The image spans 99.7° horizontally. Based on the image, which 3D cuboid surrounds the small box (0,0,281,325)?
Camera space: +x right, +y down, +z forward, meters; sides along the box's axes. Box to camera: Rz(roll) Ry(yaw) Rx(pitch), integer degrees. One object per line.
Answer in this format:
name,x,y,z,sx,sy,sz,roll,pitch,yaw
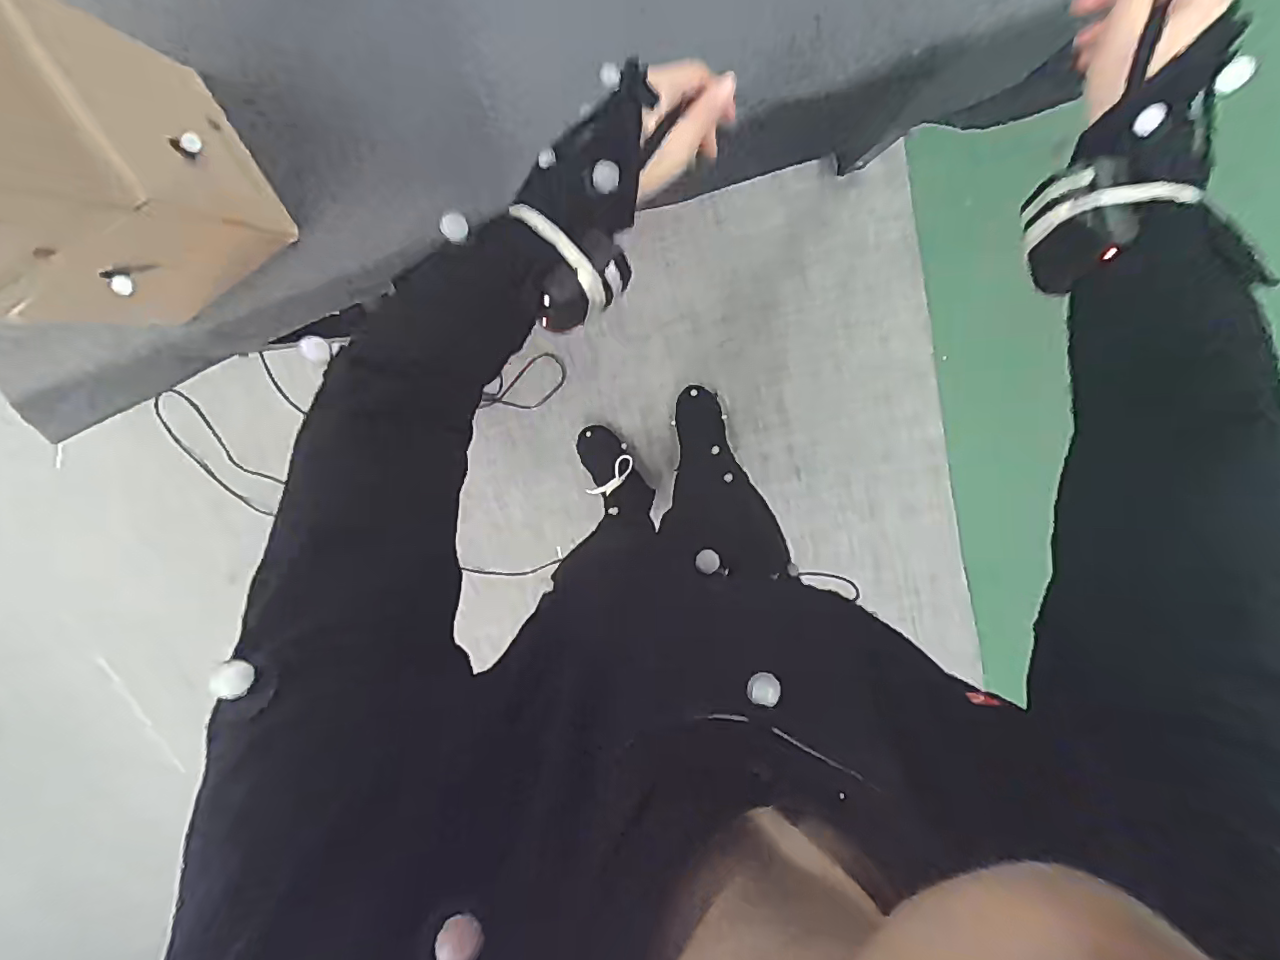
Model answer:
small box,-0.455,-0.250,0.461,0.179,0.176,0.168,-27,103,13
